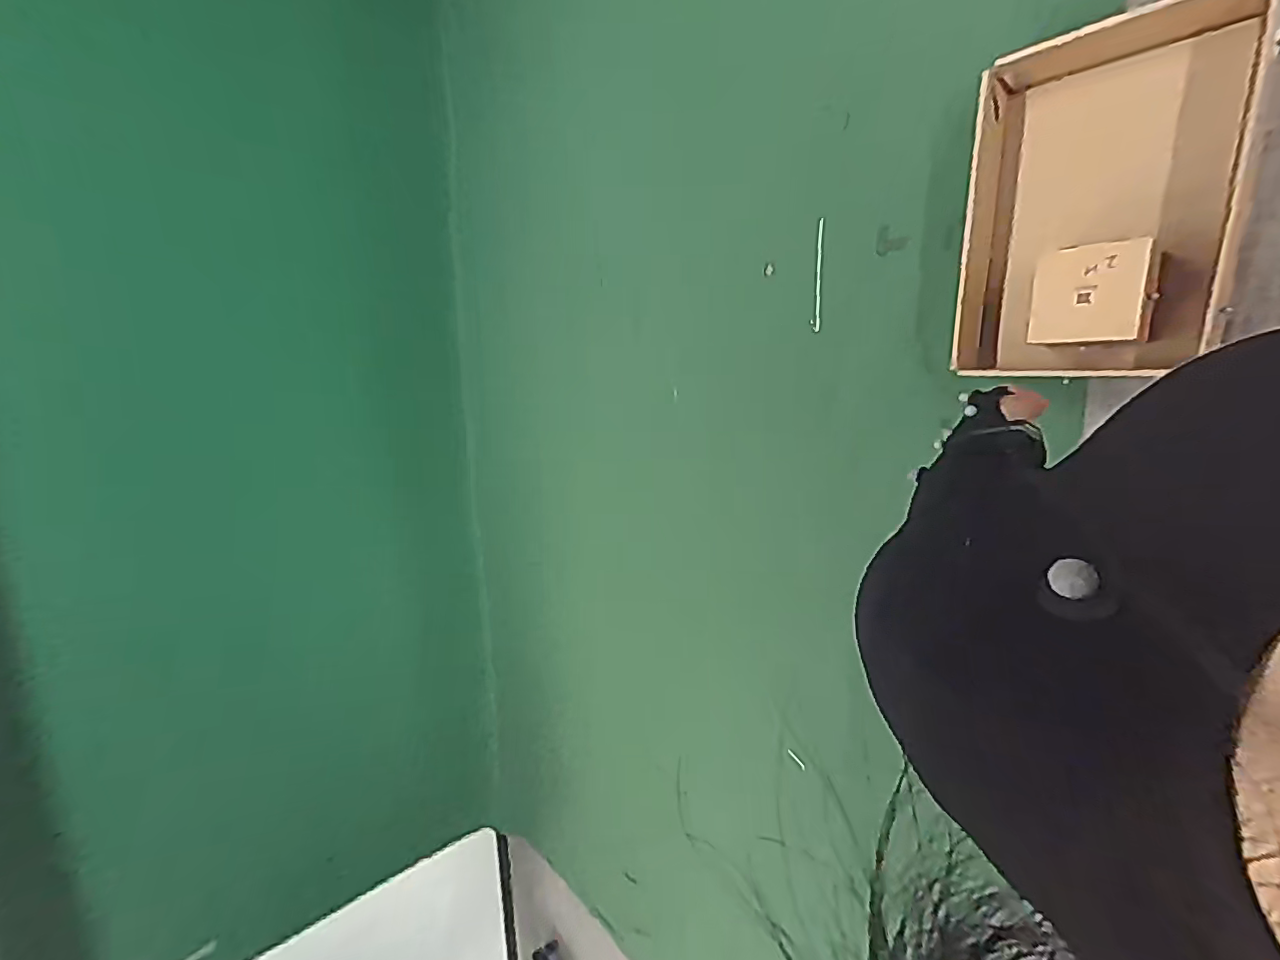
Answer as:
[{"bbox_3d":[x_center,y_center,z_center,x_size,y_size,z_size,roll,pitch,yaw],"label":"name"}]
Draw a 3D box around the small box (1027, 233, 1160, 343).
[{"bbox_3d":[0.874,-0.356,1.040,0.168,0.176,0.179,11,105,46],"label":"small box"}]
